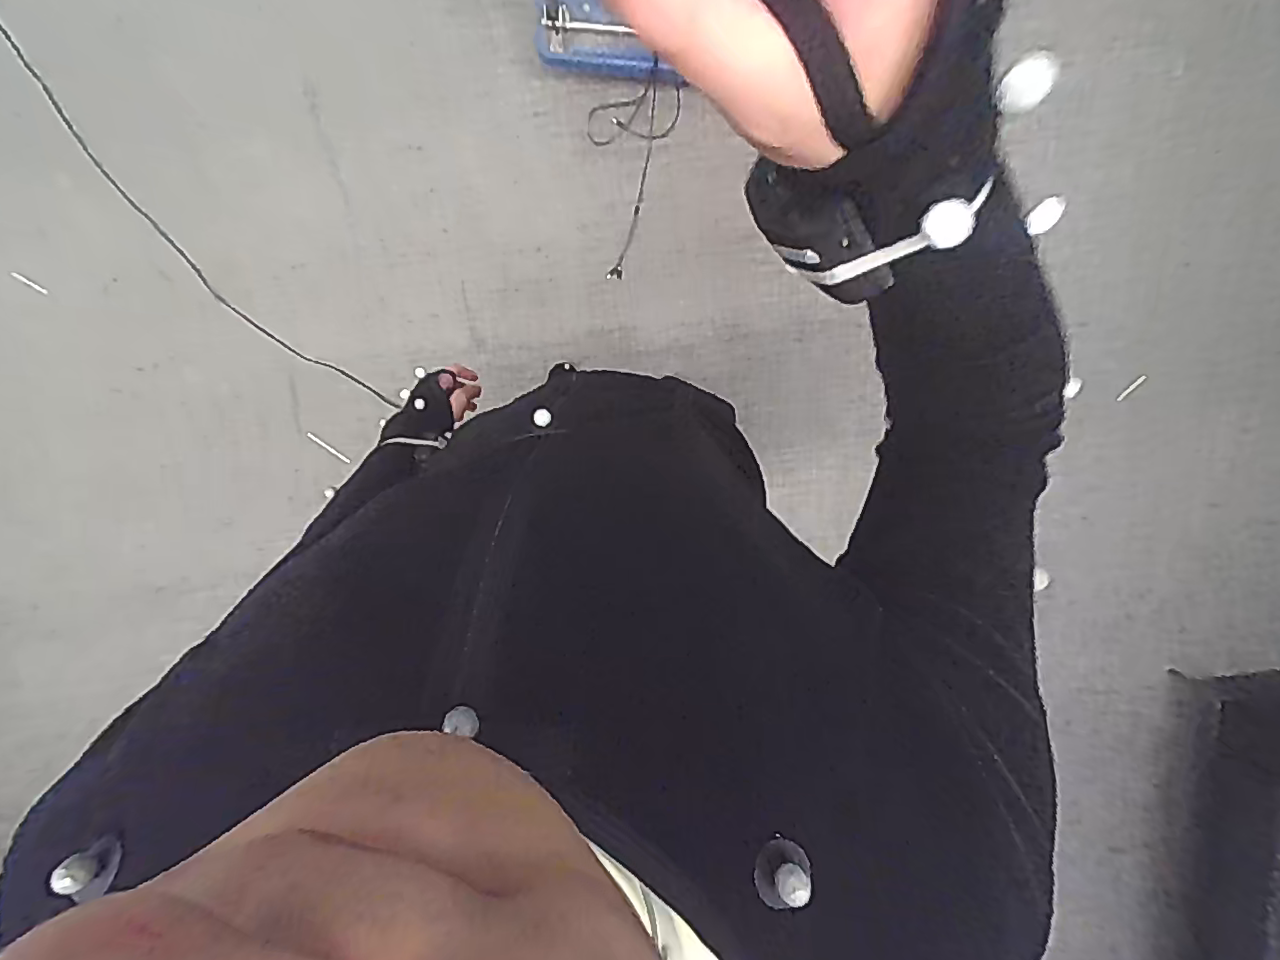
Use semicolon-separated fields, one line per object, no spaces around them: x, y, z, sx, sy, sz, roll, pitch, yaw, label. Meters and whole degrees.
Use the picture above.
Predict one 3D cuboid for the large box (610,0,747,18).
0.089;-1.215;1.044;0.320;0.320;0.408;3;102;-2;large box
